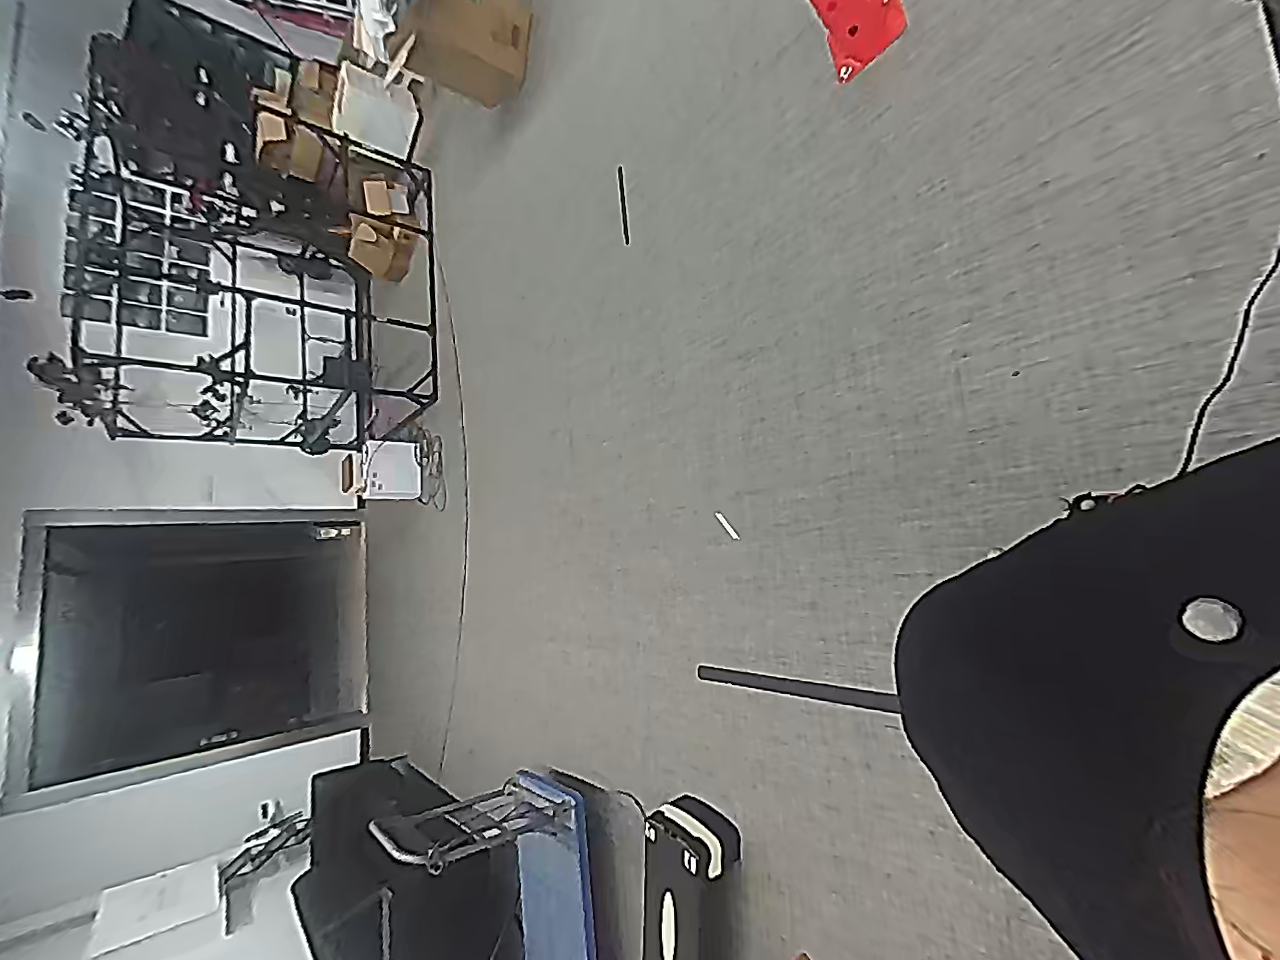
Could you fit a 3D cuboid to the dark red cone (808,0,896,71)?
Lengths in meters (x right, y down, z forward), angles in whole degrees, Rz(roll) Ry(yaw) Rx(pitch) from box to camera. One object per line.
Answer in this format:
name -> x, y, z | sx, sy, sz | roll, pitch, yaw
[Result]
dark red cone -> 0.481, -1.299, 1.412 | 0.201, 0.394, 0.202 | -24, 70, 47
